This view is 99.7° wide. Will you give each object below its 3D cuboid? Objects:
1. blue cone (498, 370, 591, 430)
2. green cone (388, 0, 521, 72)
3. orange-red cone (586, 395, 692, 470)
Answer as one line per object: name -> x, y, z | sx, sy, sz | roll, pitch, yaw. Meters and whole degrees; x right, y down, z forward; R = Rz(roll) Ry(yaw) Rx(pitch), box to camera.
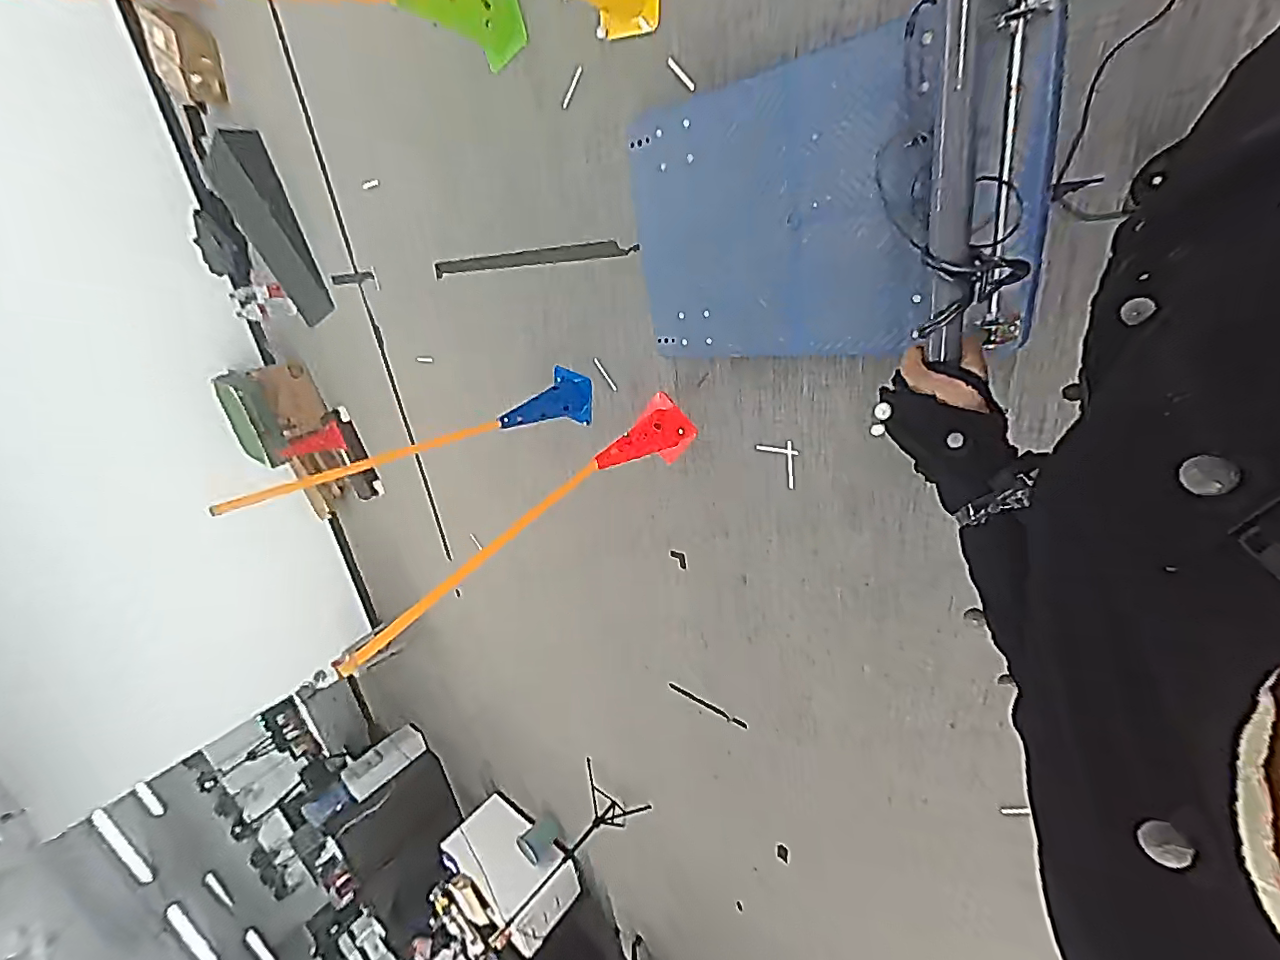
blue cone -> -0.368, -0.260, 1.982 | 0.192, 0.380, 0.193 | 27, 129, 30
green cone -> -0.553, -1.337, 1.533 | 0.202, 0.368, 0.200 | -5, 109, 43
orange-red cone -> -0.036, -0.108, 1.730 | 0.199, 0.360, 0.198 | 52, 137, 10
